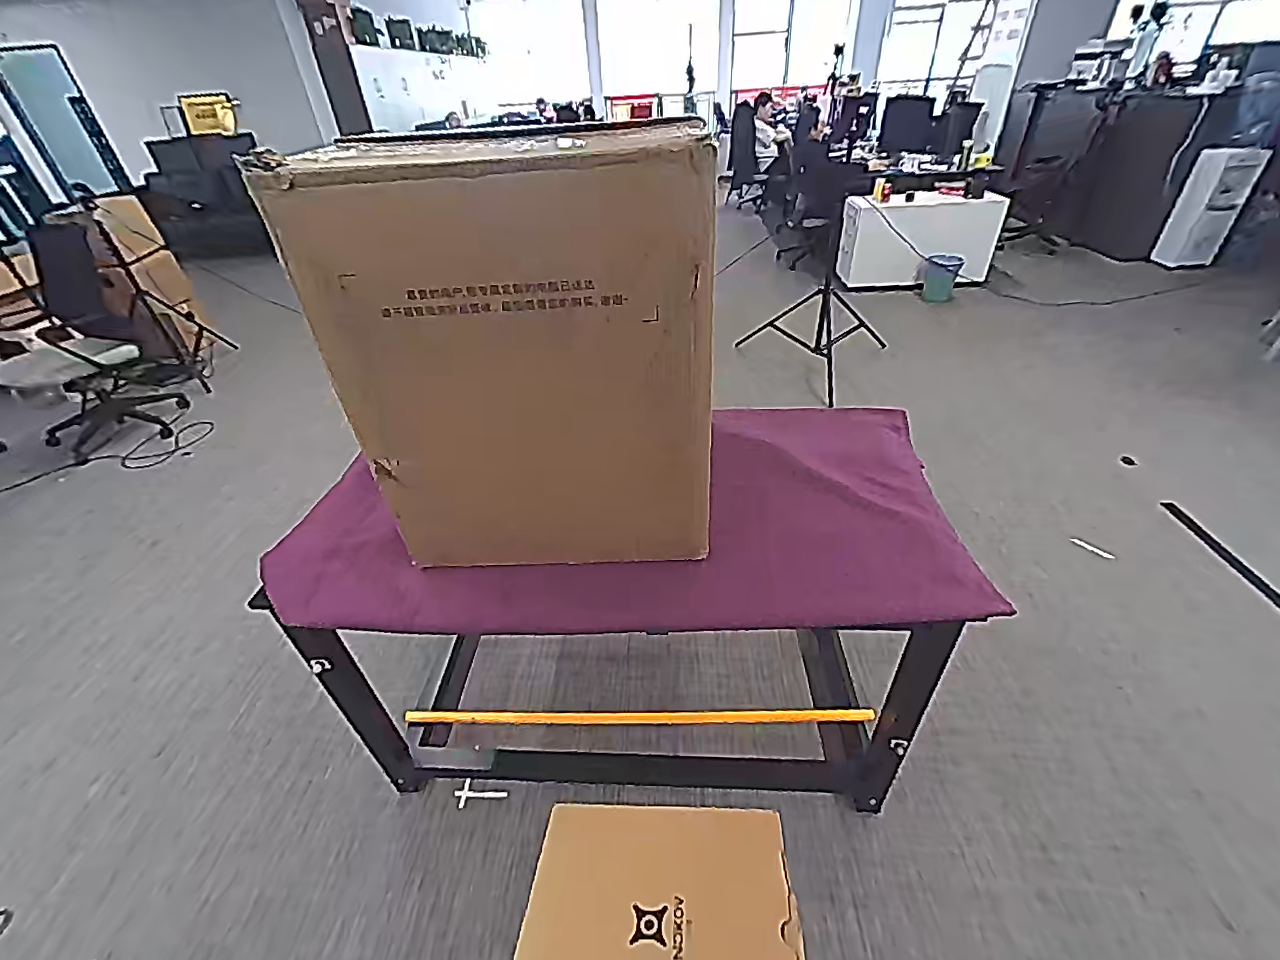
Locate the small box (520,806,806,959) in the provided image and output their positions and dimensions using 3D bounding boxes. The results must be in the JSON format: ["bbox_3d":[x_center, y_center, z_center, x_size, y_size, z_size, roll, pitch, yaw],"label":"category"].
[{"bbox_3d":[0.021,0.358,0.367,0.179,0.176,0.168,-3,20,7],"label":"small box"}]
